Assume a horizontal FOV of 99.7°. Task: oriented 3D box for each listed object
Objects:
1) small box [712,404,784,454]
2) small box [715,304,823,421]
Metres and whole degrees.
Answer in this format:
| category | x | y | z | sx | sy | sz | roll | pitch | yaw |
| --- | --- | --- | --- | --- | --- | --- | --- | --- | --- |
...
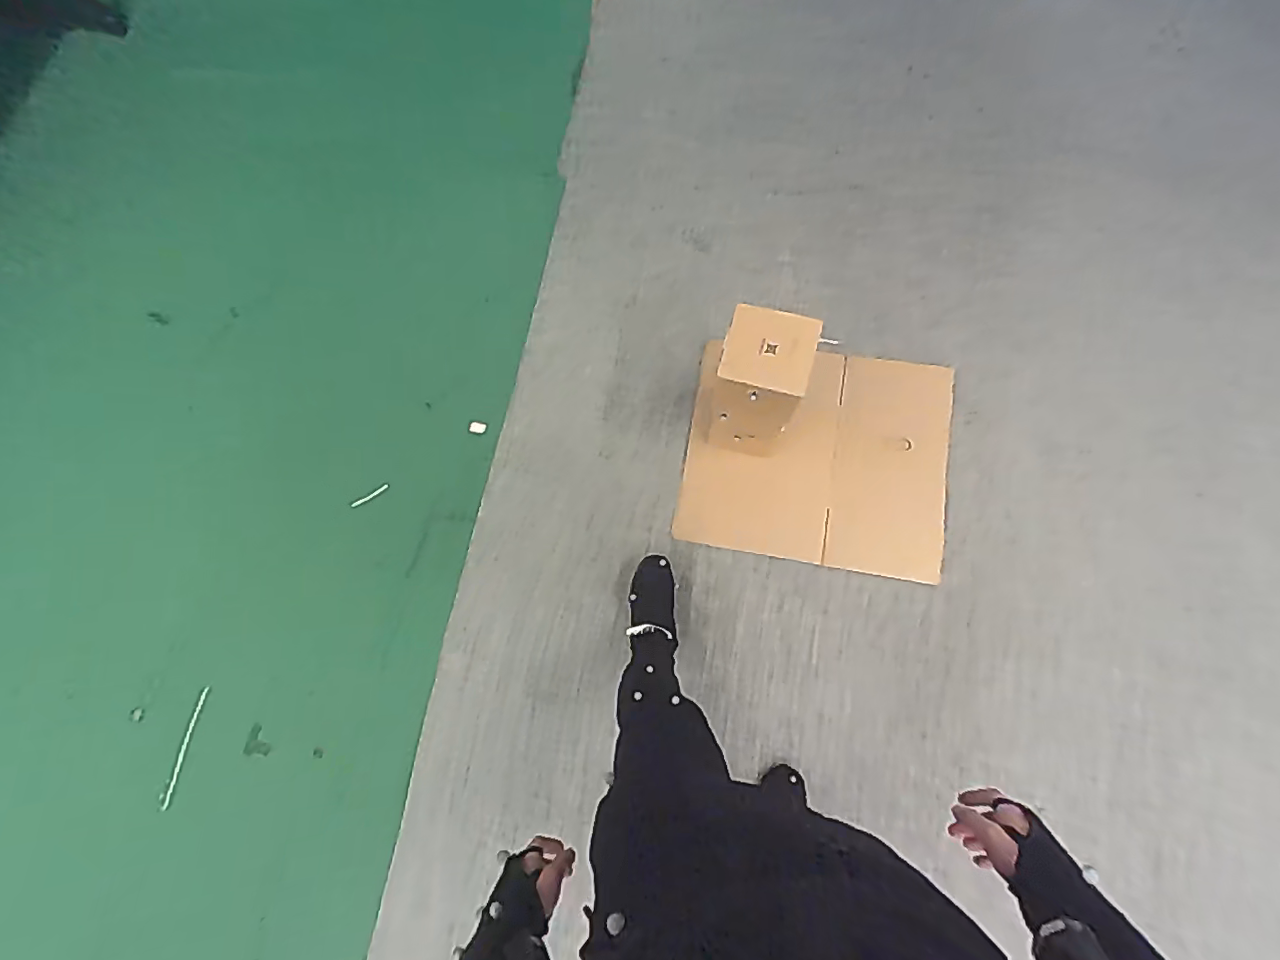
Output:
| category | x | y | z | sx | sy | sz | roll | pitch | yaw |
| --- | --- | --- | --- | --- | --- | --- | --- | --- | --- |
| small box | 0.295 | -0.179 | 1.449 | 0.179 | 0.176 | 0.168 | 14 | 79 | 9 |
| small box | 0.260 | -0.237 | 1.128 | 0.179 | 0.176 | 0.168 | 16 | 80 | 9 |
